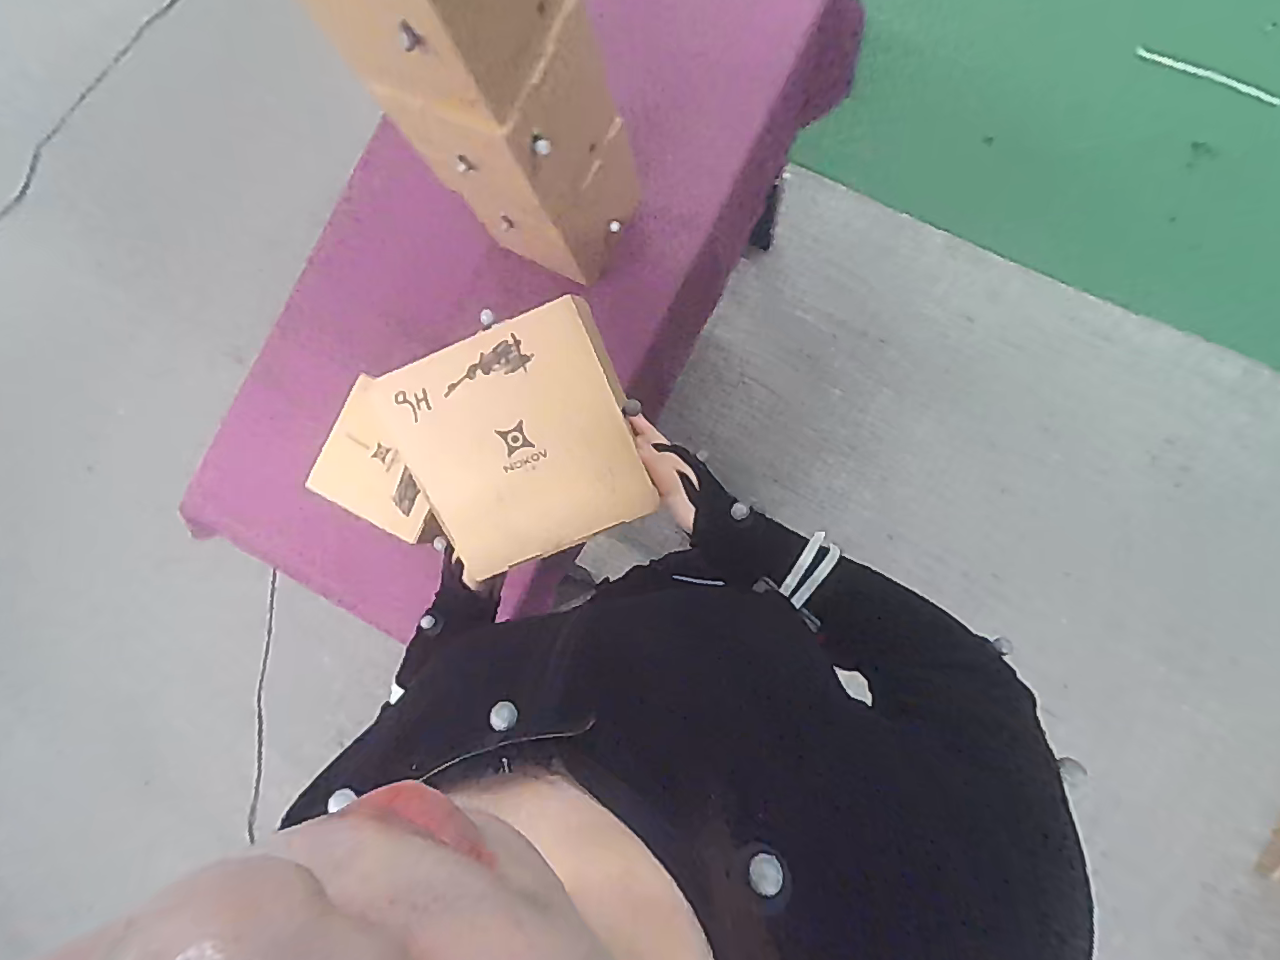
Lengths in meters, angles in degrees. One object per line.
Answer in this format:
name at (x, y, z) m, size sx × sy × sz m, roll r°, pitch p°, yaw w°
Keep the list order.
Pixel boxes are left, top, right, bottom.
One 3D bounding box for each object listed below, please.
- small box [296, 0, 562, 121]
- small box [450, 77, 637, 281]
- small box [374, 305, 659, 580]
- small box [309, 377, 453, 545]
small box at (-0.185, -0.446, 0.450) m, size 0.179 × 0.176 × 0.168 m, roll 26°, pitch 89°, yaw 11°
small box at (-0.125, -0.415, 0.771) m, size 0.179 × 0.176 × 0.168 m, roll 29°, pitch 91°, yaw 10°
small box at (-0.090, -0.045, 0.486) m, size 0.168 × 0.176 × 0.179 m, roll -21°, pitch 108°, yaw 5°
small box at (-0.306, -0.021, 0.765) m, size 0.179 × 0.176 × 0.168 m, roll 26°, pitch 89°, yaw 11°
